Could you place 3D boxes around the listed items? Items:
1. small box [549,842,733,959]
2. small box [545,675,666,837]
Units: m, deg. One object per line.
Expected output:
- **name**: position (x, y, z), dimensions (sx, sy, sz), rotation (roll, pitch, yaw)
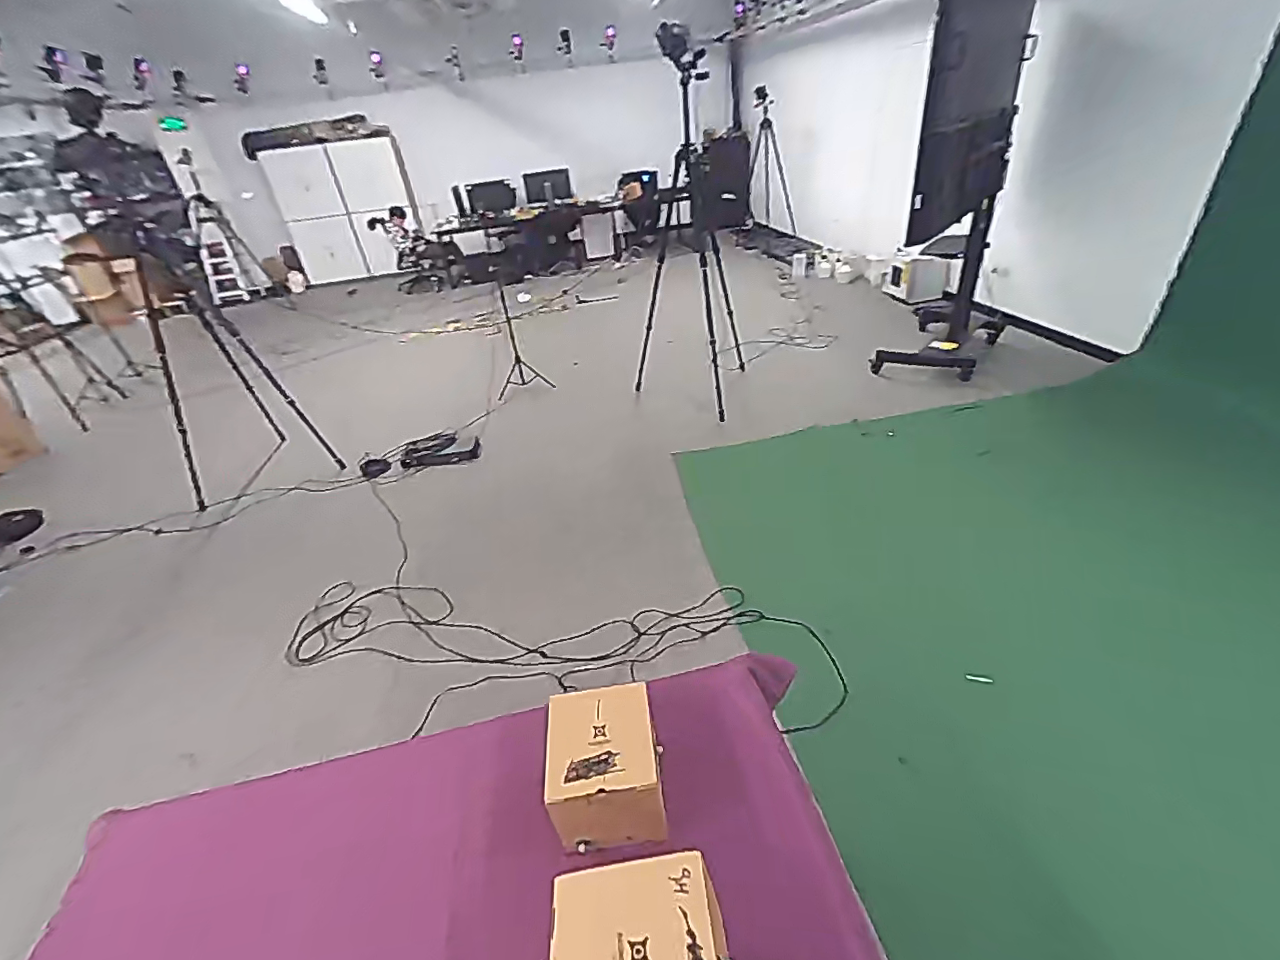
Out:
- **small box**: position (0.008, 0.538, 0.593), dimensions (0.179, 0.176, 0.168), rotation (-13, 32, 4)
- **small box**: position (-0.052, 0.452, 0.881), dimensions (0.168, 0.176, 0.179), rotation (-8, 34, -1)
